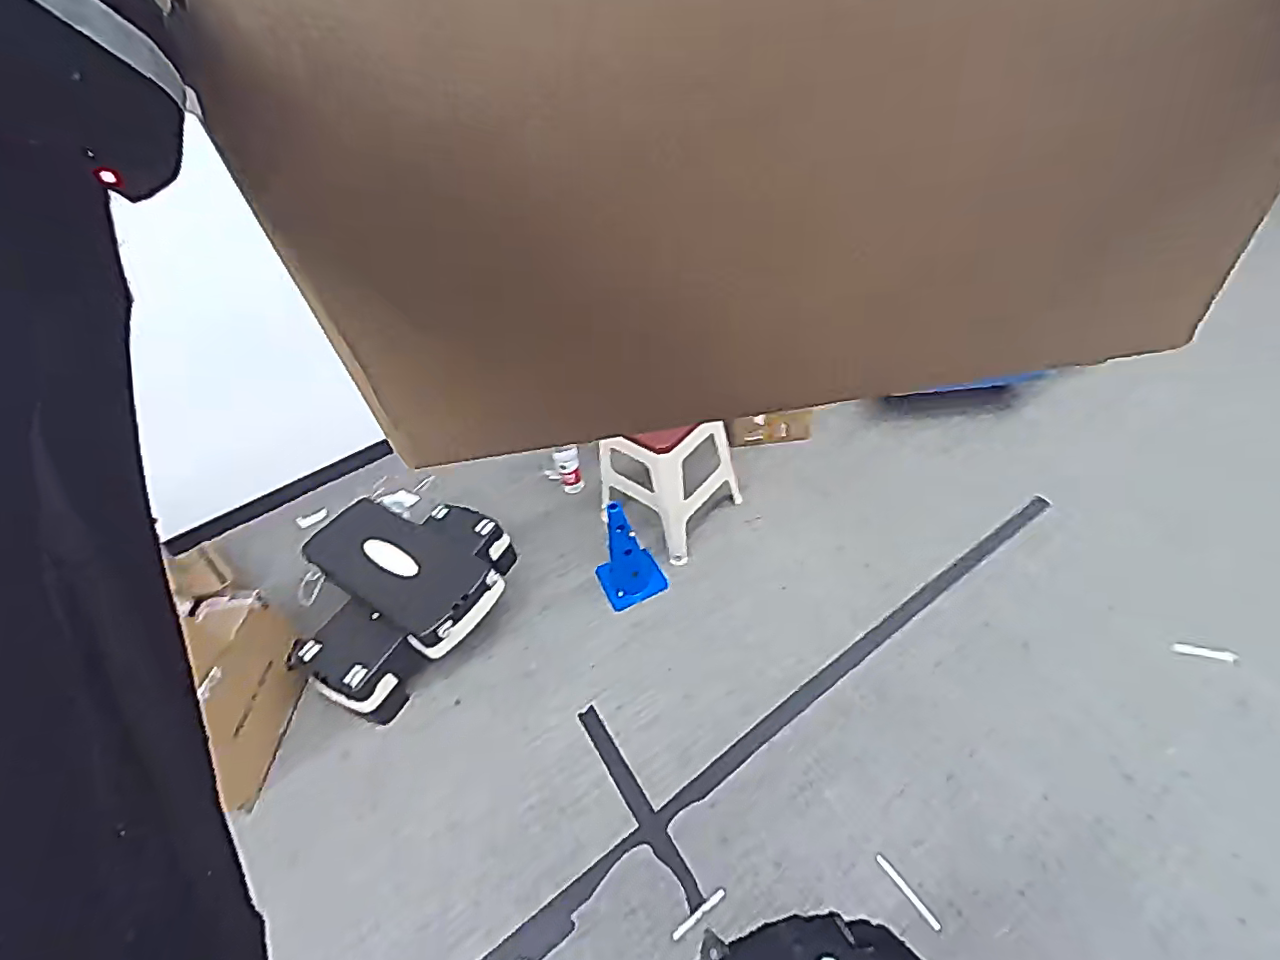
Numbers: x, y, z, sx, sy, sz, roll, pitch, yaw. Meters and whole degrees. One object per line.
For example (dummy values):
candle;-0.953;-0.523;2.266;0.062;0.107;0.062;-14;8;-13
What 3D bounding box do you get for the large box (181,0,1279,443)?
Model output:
large box;0.043;-0.252;0.292;0.408;0.320;0.320;-8;43;2
